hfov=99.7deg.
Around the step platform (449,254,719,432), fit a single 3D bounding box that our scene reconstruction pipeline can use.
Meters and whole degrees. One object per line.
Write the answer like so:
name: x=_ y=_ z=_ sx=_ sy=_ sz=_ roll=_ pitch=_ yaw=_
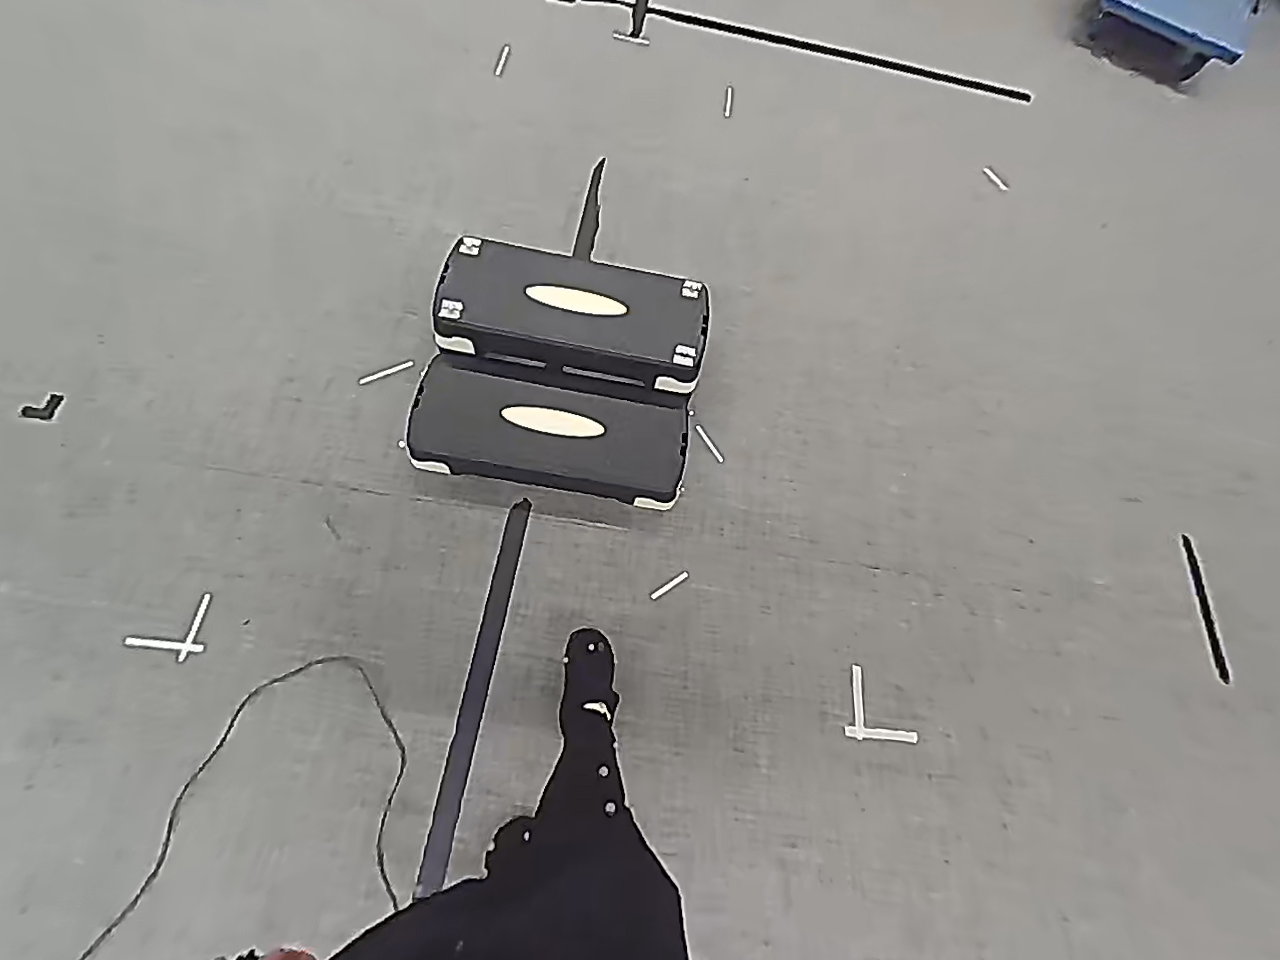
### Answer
step platform: x=-0.138 y=-0.357 z=1.425 sx=0.684 sy=0.204 sz=0.286 roll=14 pitch=67 yaw=-2
